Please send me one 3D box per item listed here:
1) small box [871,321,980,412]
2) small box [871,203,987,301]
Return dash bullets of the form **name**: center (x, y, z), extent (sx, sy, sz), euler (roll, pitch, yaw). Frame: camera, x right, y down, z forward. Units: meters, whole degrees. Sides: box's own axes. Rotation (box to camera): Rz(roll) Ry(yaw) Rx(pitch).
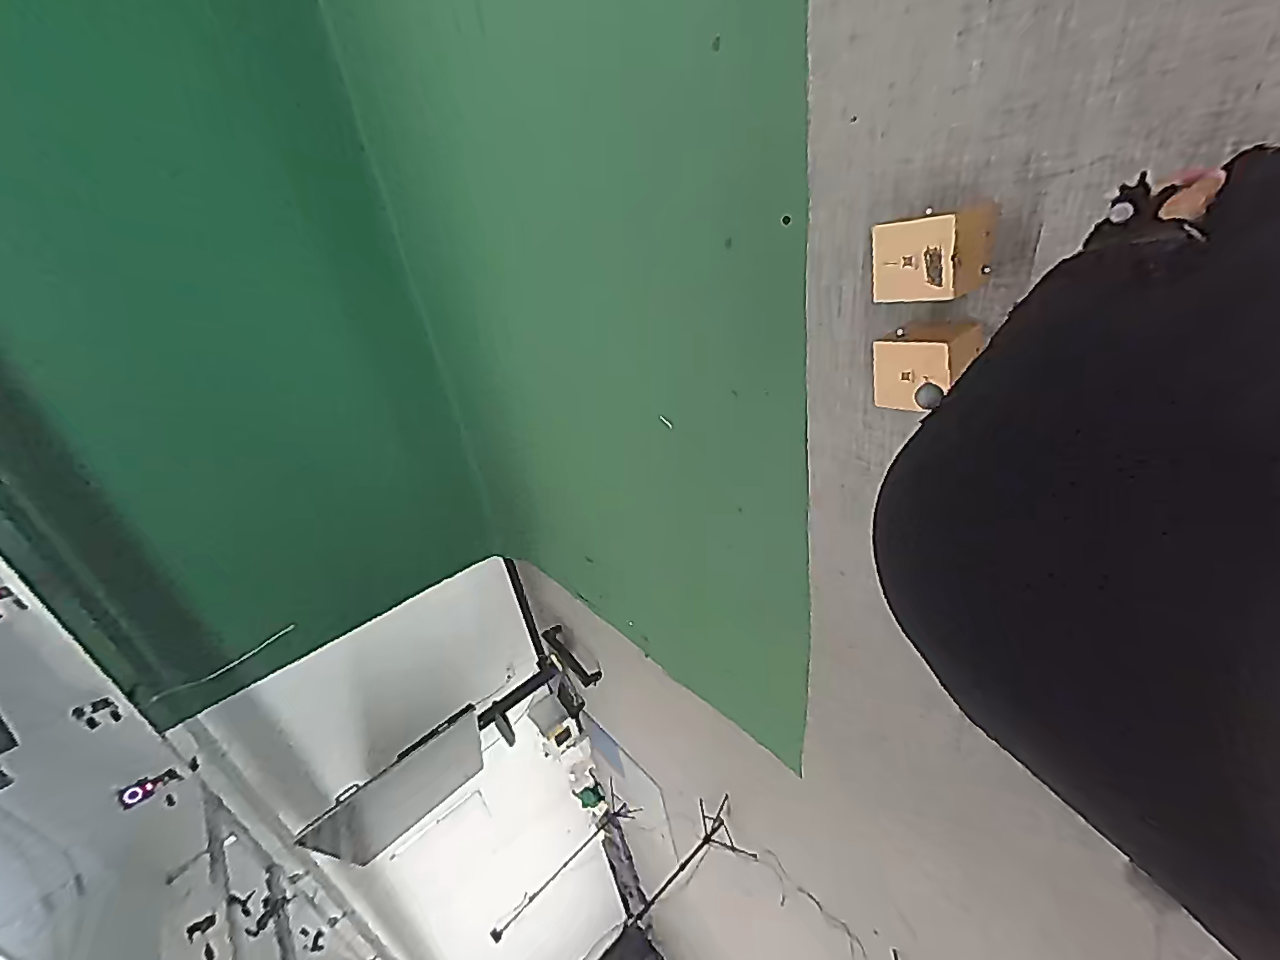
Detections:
- **small box**: center (0.679, -0.278, 1.293), extent (0.179, 0.176, 0.168), euler (18, 129, 48)
- **small box**: center (0.633, -0.498, 1.187), extent (0.179, 0.176, 0.168), euler (19, 128, 49)
